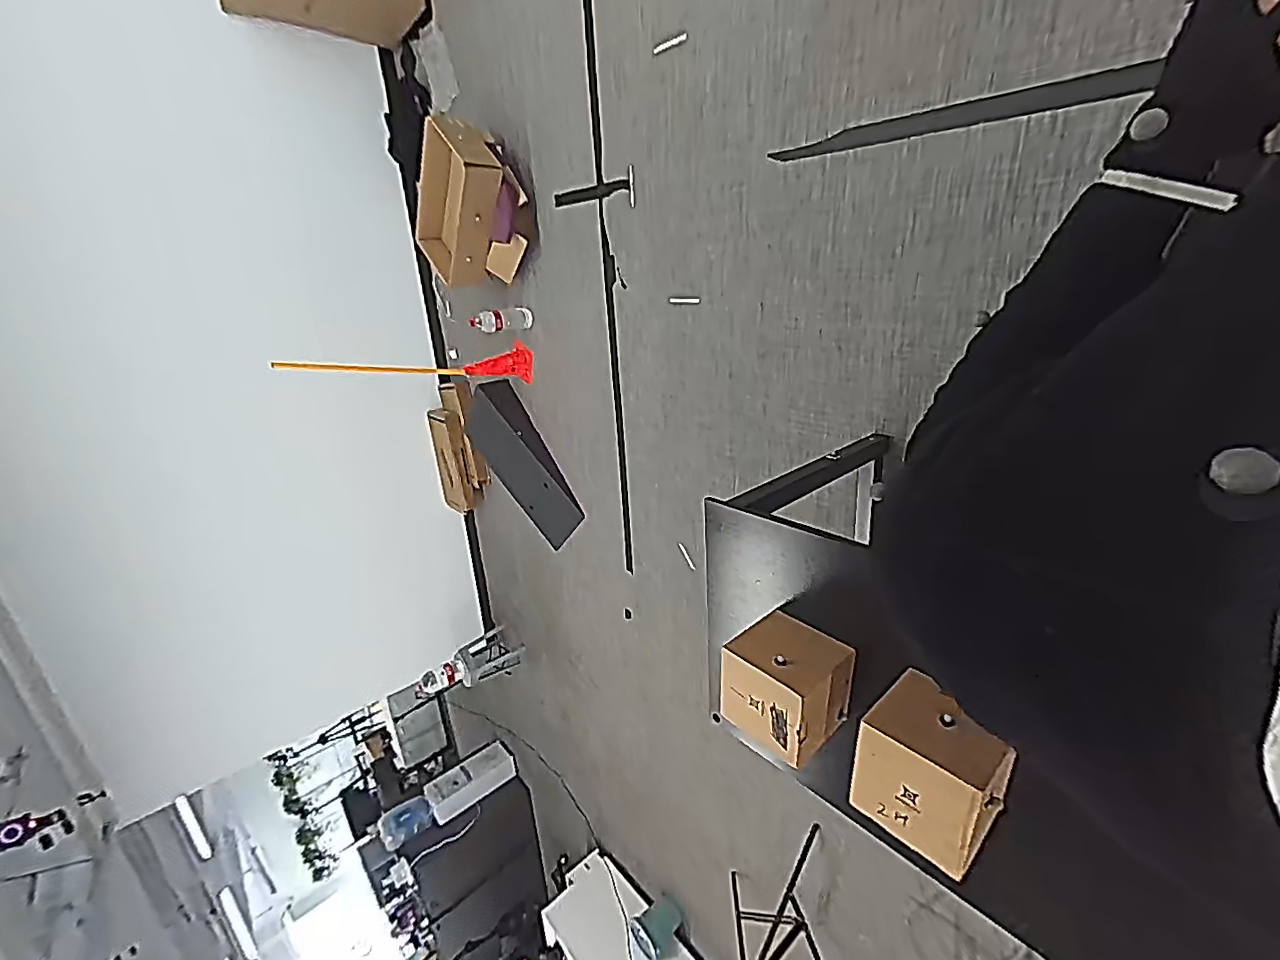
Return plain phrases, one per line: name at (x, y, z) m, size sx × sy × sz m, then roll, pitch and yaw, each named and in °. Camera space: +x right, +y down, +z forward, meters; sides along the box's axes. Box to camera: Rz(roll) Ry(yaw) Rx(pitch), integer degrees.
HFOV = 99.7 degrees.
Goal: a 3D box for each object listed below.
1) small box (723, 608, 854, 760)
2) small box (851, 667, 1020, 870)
small box at (0.277, 0.367, 1.012) m, size 0.179 × 0.176 × 0.168 m, roll 22°, pitch 123°, yaw 45°
small box at (0.448, 0.421, 0.823) m, size 0.168 × 0.176 × 0.179 m, roll 22°, pitch 122°, yaw 45°
